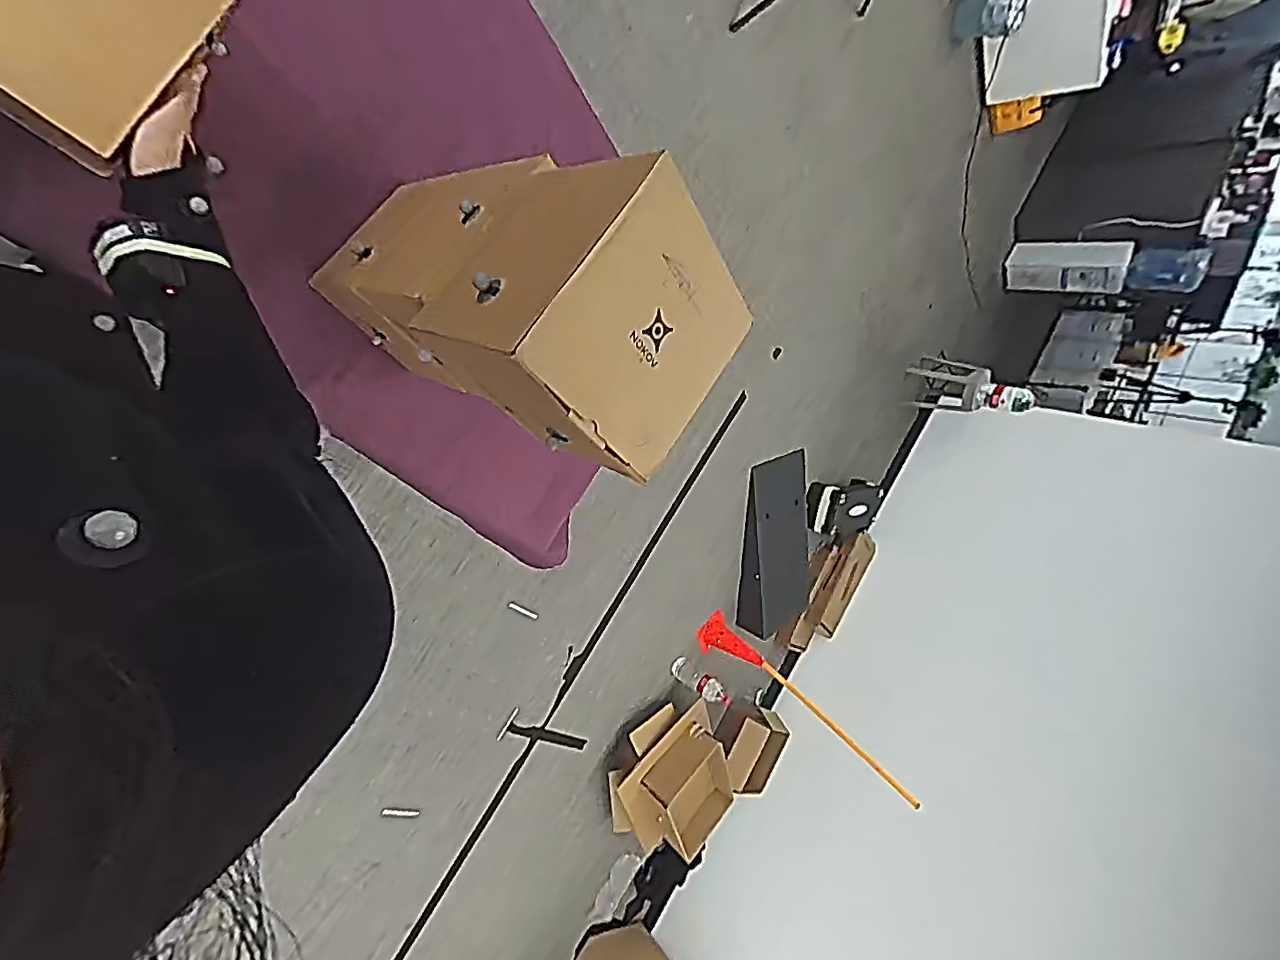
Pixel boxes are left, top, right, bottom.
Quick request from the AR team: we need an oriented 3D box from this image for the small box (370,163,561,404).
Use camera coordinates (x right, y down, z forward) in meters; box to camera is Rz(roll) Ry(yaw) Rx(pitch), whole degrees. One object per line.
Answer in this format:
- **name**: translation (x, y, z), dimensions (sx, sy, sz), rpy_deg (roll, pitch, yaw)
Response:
- **small box**: translation (-0.143, -0.195, 0.566), dimensions (0.179, 0.176, 0.168), rpy_deg (-55, 136, -13)

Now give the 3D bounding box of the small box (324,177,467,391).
- **small box**: translation (-0.259, -0.240, 0.674), dimensions (0.179, 0.176, 0.168), rpy_deg (-55, 137, -14)

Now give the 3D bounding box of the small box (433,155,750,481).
- **small box**: translation (-0.043, -0.130, 0.454), dimensions (0.179, 0.176, 0.168), rpy_deg (-58, 138, -11)

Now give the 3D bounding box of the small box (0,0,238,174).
- **small box**: translation (-0.458, -0.371, 0.418), dimensions (0.168, 0.176, 0.179), rpy_deg (36, 79, -47)
